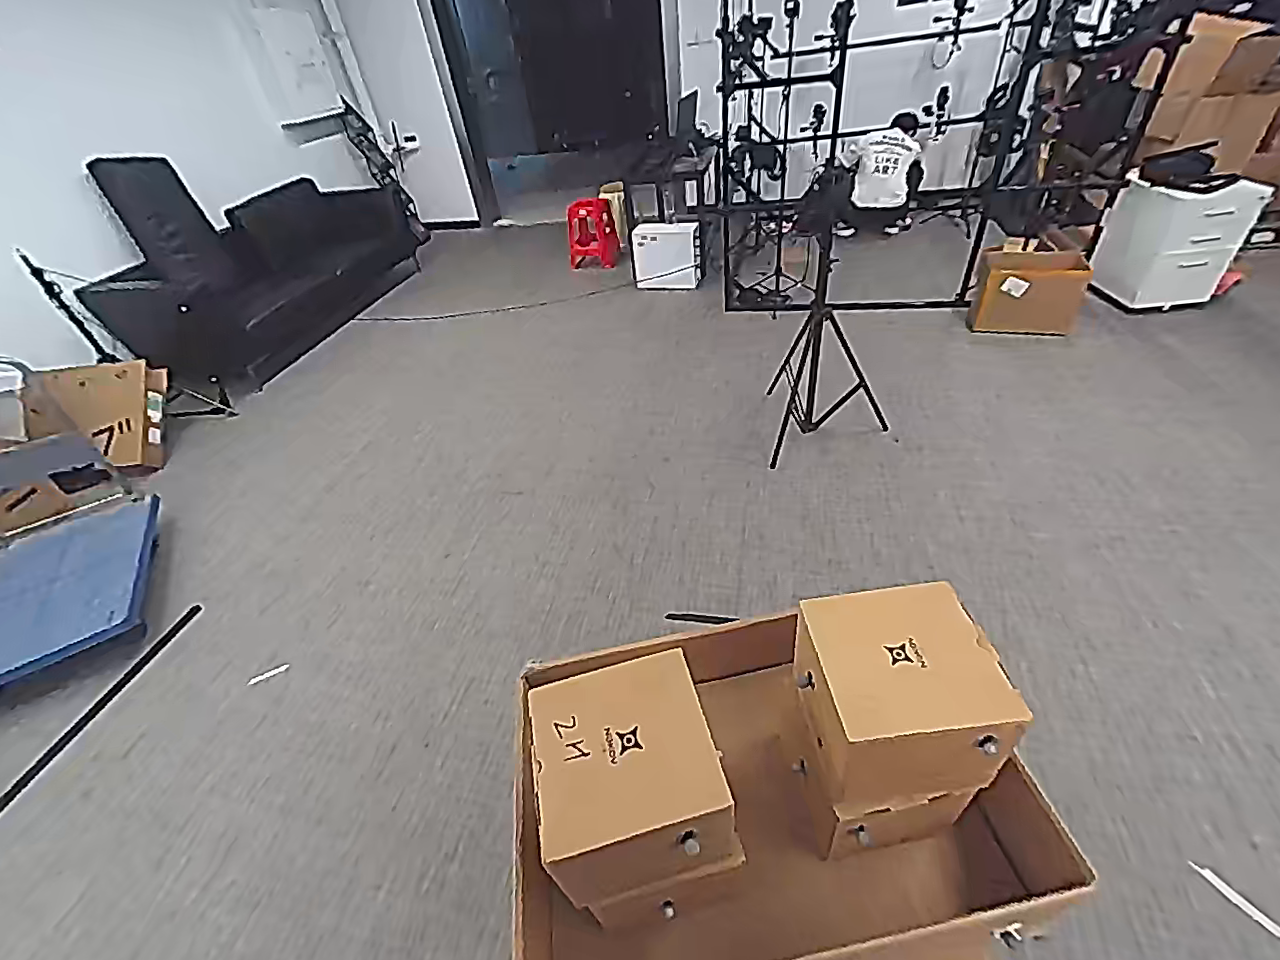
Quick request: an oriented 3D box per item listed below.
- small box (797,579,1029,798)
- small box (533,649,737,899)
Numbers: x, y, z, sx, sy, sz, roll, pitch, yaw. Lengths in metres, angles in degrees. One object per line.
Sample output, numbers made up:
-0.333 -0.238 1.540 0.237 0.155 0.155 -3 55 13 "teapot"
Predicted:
0.286 0.240 0.619 0.179 0.176 0.168 -8 41 1 "small box"
-0.006 0.316 0.584 0.179 0.176 0.168 -14 41 -6 "small box"
